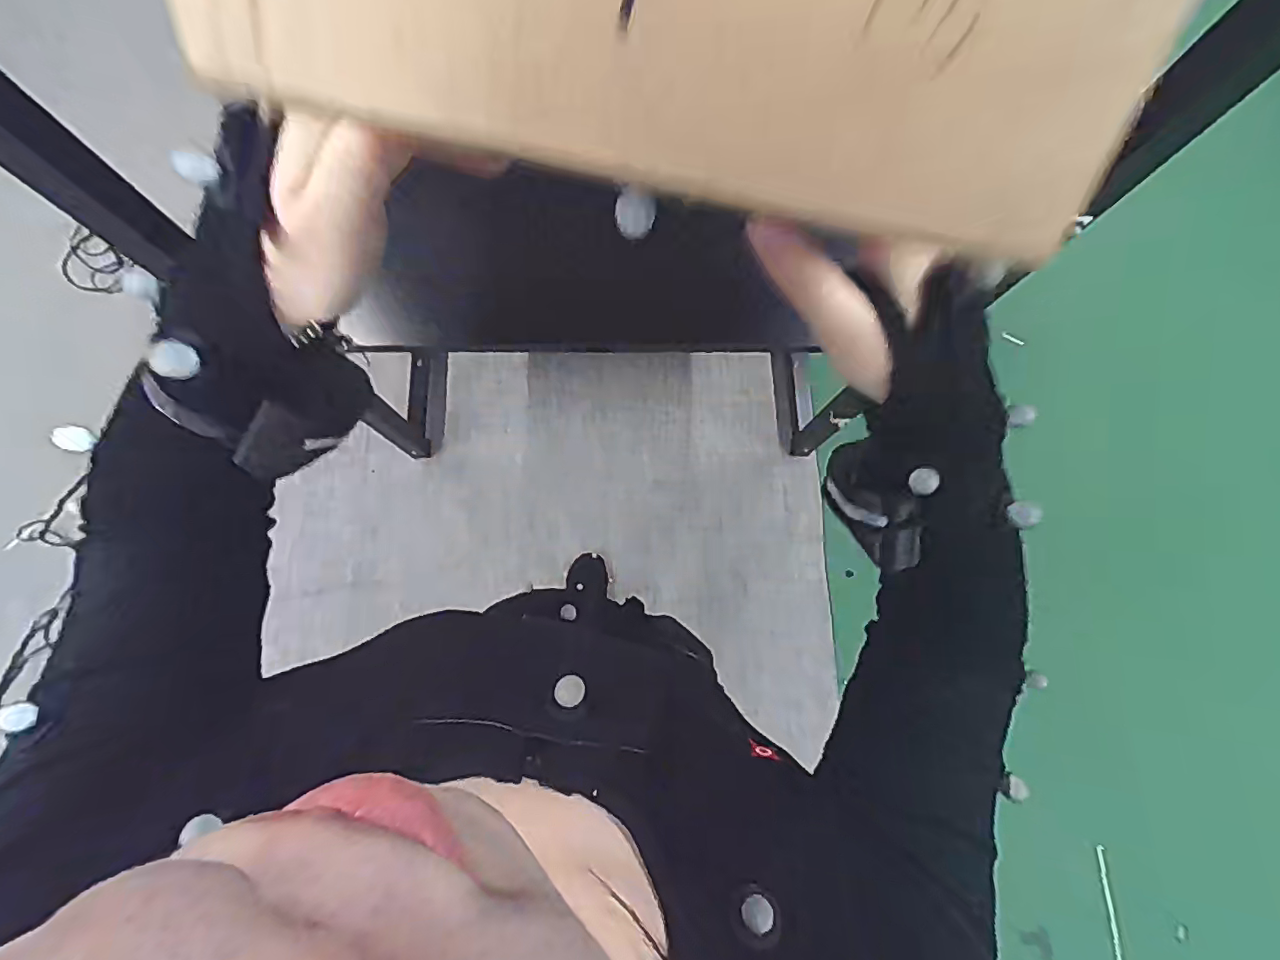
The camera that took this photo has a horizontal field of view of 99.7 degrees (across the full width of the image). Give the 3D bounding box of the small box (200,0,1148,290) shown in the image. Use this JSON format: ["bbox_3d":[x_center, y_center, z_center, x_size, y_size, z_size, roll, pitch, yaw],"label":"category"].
[{"bbox_3d":[0.019,-0.169,0.140,0.168,0.176,0.179,12,120,-1],"label":"small box"}]
